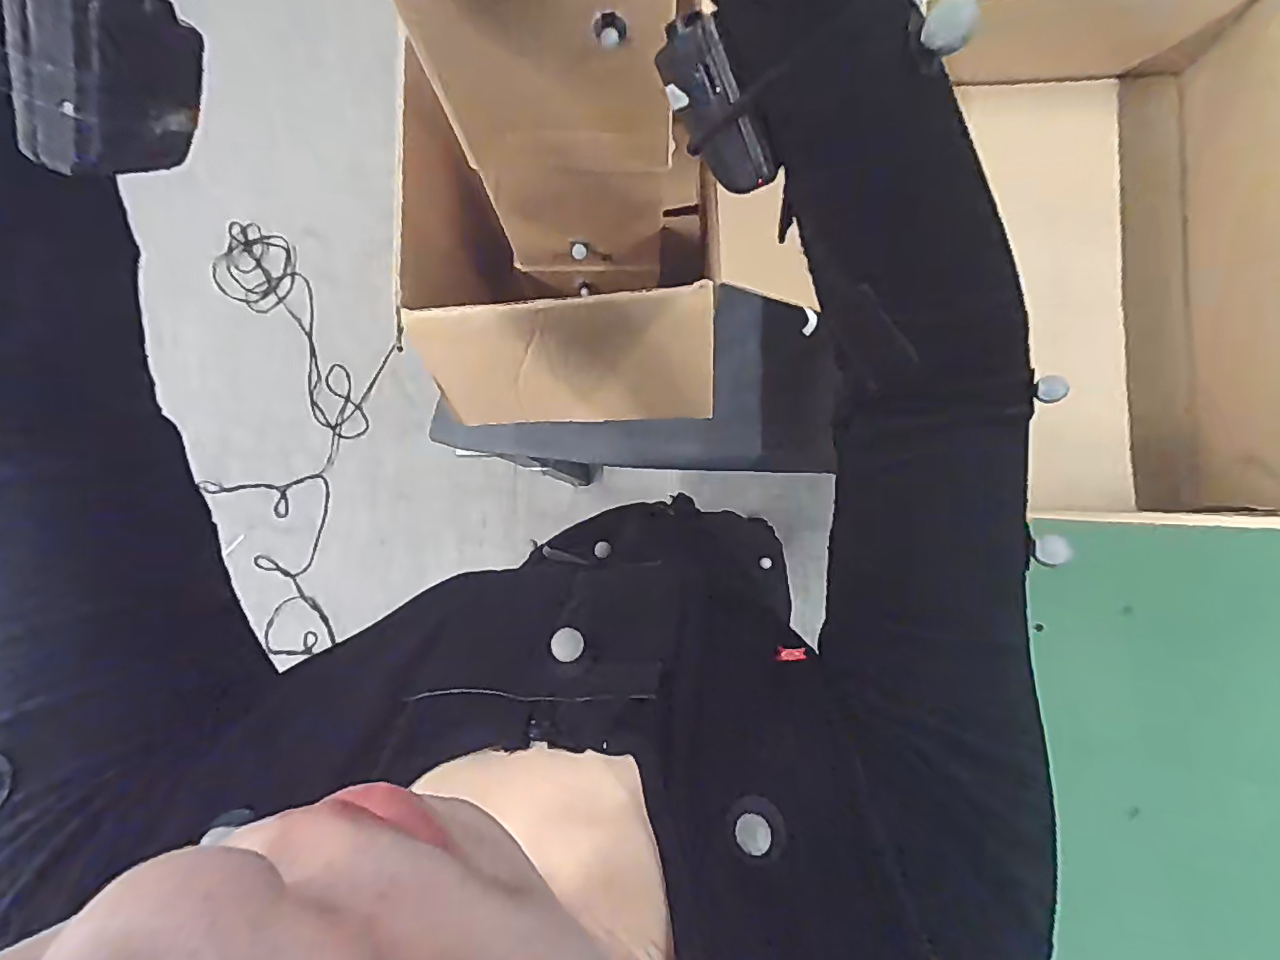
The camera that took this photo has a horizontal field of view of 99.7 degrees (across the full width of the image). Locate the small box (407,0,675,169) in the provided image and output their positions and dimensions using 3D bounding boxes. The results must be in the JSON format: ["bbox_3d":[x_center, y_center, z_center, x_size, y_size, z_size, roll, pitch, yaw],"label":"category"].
[{"bbox_3d":[-0.062,-0.363,0.403,0.179,0.176,0.168,2,84,0],"label":"small box"}]
